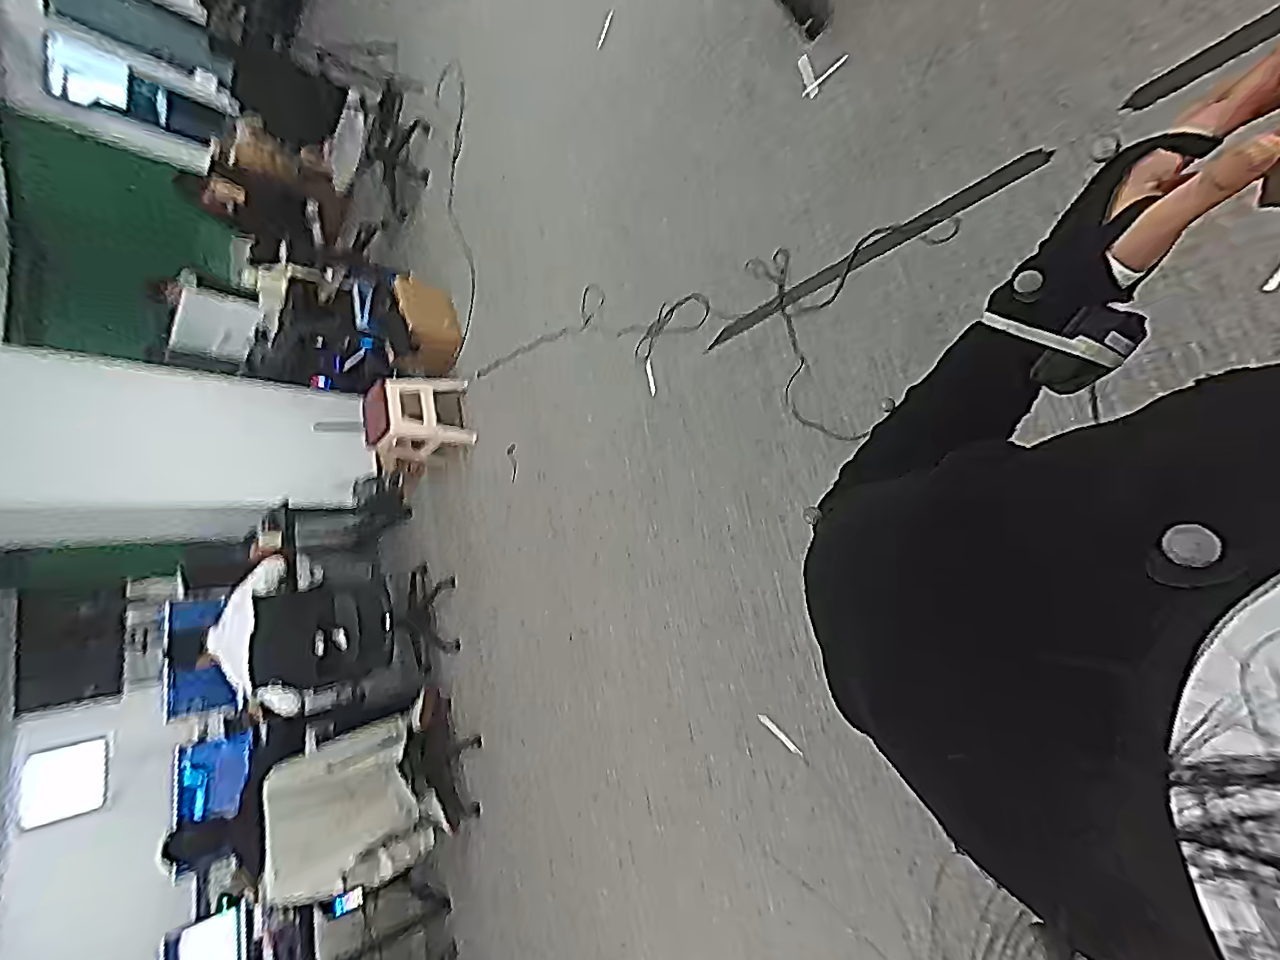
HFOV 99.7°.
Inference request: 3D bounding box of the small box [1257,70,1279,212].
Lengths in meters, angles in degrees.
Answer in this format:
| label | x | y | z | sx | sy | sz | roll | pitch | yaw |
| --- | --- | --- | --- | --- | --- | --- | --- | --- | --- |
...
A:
| label | x | y | z | sx | sy | sz | roll | pitch | yaw |
| --- | --- | --- | --- | --- | --- | --- | --- | --- | --- |
| small box | 0.436 | -0.242 | 0.254 | 0.168 | 0.176 | 0.179 | 19 | 113 | 45 |
